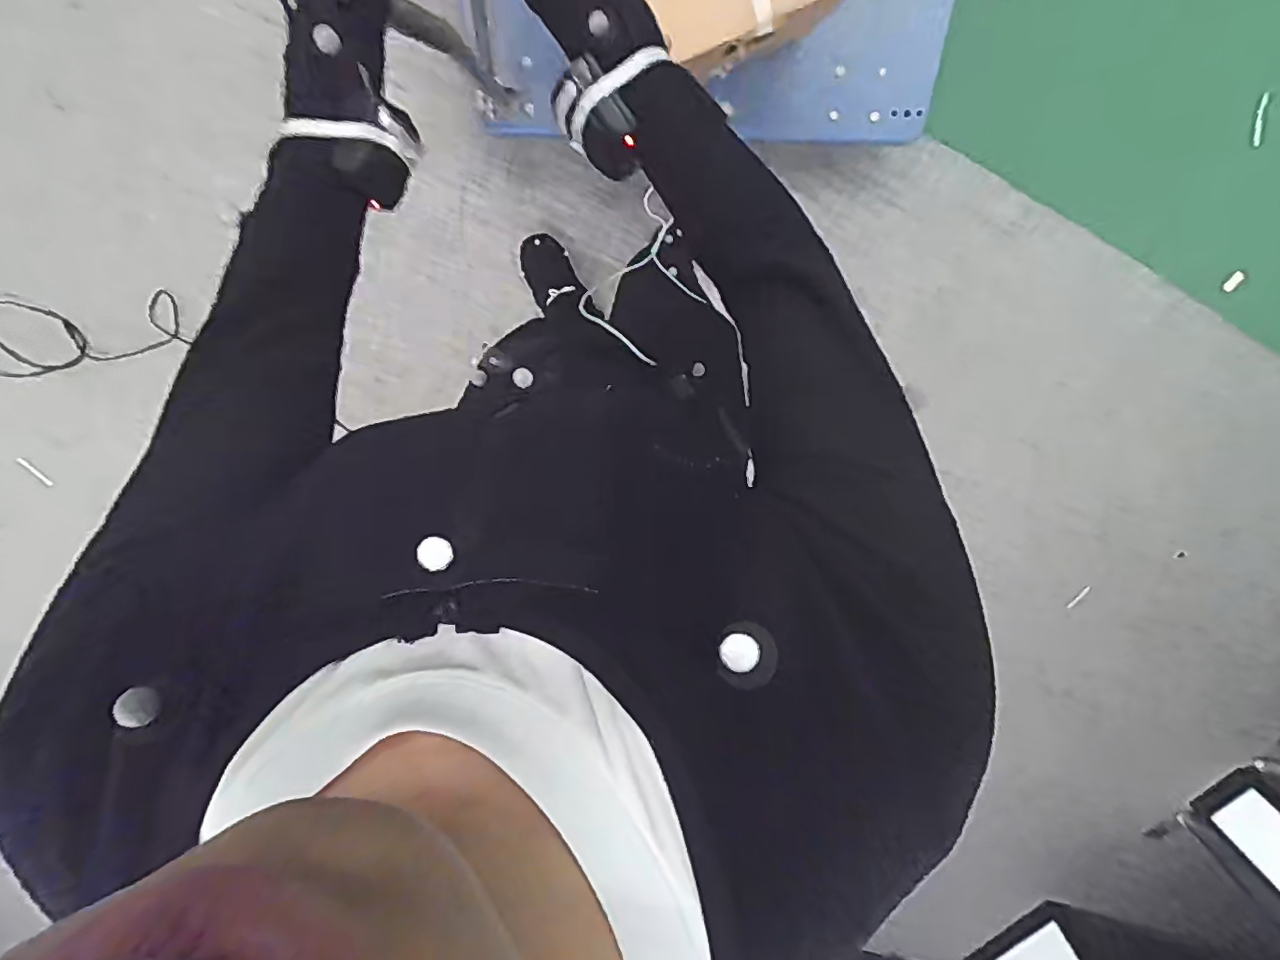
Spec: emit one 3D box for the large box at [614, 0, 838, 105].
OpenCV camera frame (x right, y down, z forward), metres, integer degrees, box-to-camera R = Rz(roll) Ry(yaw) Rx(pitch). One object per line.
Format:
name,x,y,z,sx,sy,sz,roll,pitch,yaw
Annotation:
large box,0.085,-0.845,0.777,0.320,0.320,0.408,-18,116,7
